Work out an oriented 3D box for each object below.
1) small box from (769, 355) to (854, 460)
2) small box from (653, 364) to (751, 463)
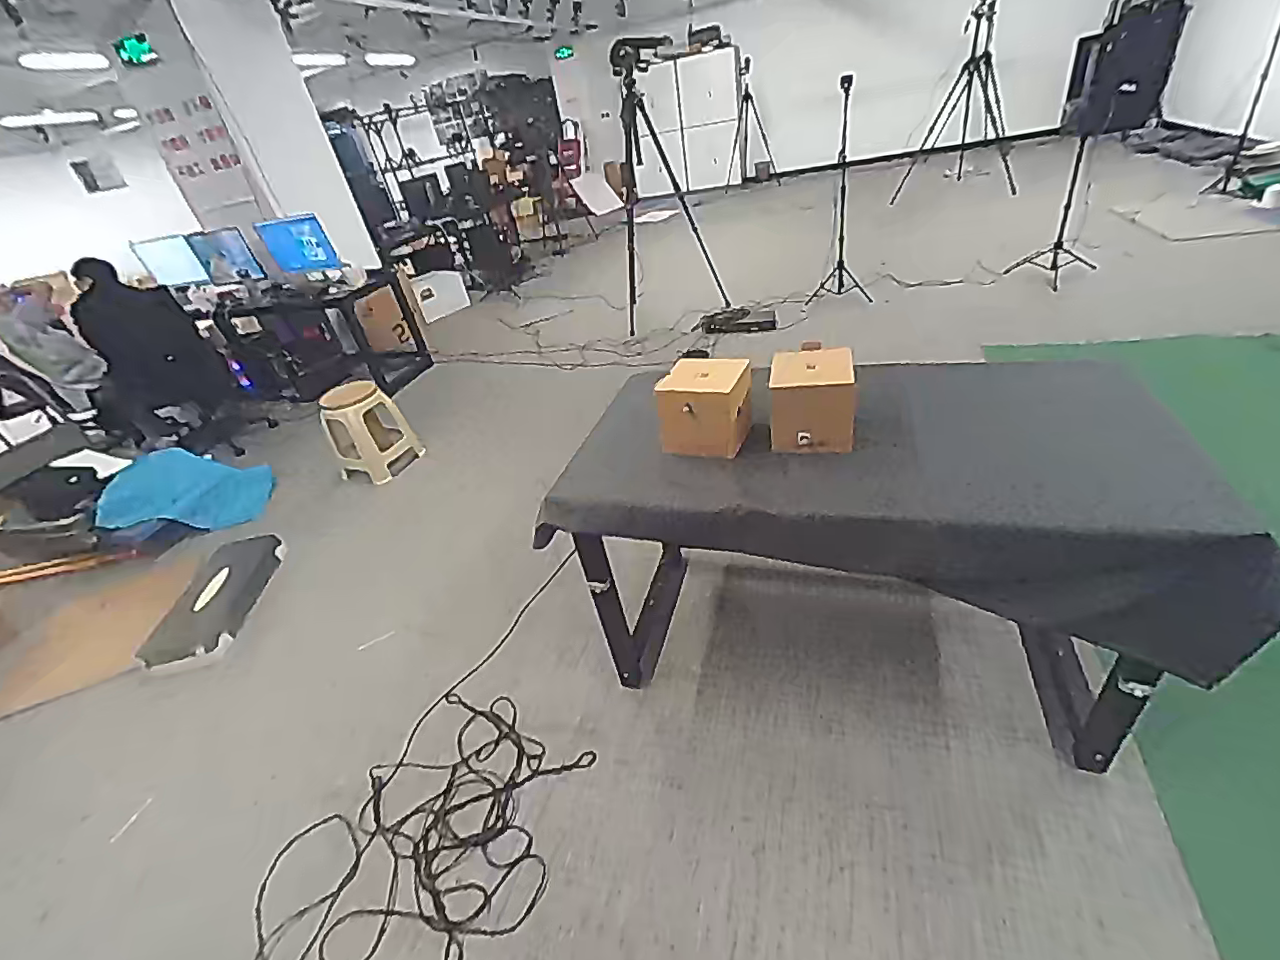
[{"bbox_3d":[0.374,-0.158,1.187,0.168,0.176,0.179,-1,35,17],"label":"small box"},{"bbox_3d":[0.151,-0.153,1.245,0.179,0.176,0.168,7,37,26],"label":"small box"}]
